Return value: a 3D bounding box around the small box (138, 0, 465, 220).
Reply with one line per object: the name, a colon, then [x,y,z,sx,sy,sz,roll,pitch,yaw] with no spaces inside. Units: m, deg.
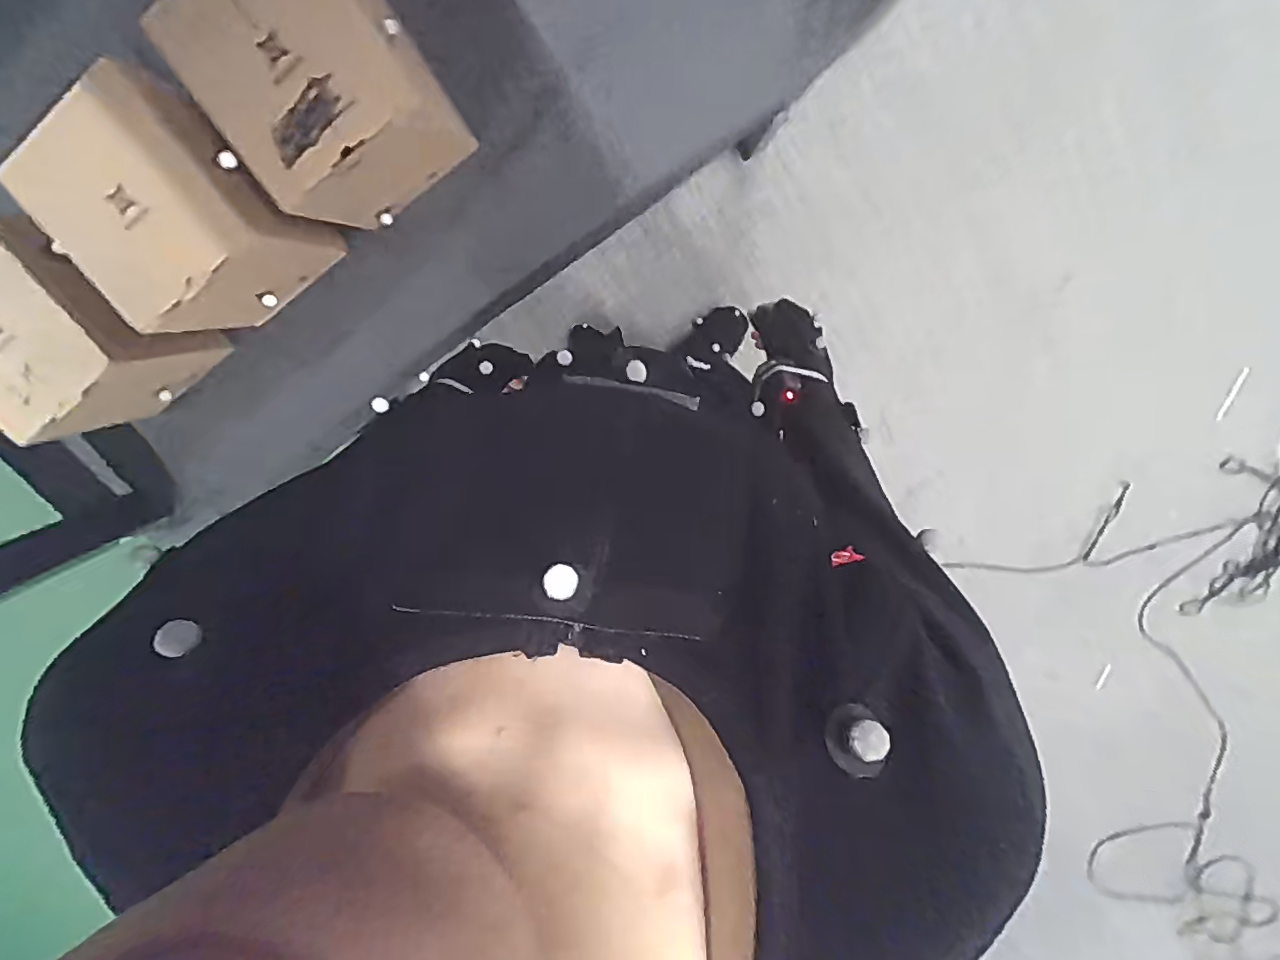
small box: [-0.306,-0.382,0.535,0.168,0.176,0.179,-31,104,12]
